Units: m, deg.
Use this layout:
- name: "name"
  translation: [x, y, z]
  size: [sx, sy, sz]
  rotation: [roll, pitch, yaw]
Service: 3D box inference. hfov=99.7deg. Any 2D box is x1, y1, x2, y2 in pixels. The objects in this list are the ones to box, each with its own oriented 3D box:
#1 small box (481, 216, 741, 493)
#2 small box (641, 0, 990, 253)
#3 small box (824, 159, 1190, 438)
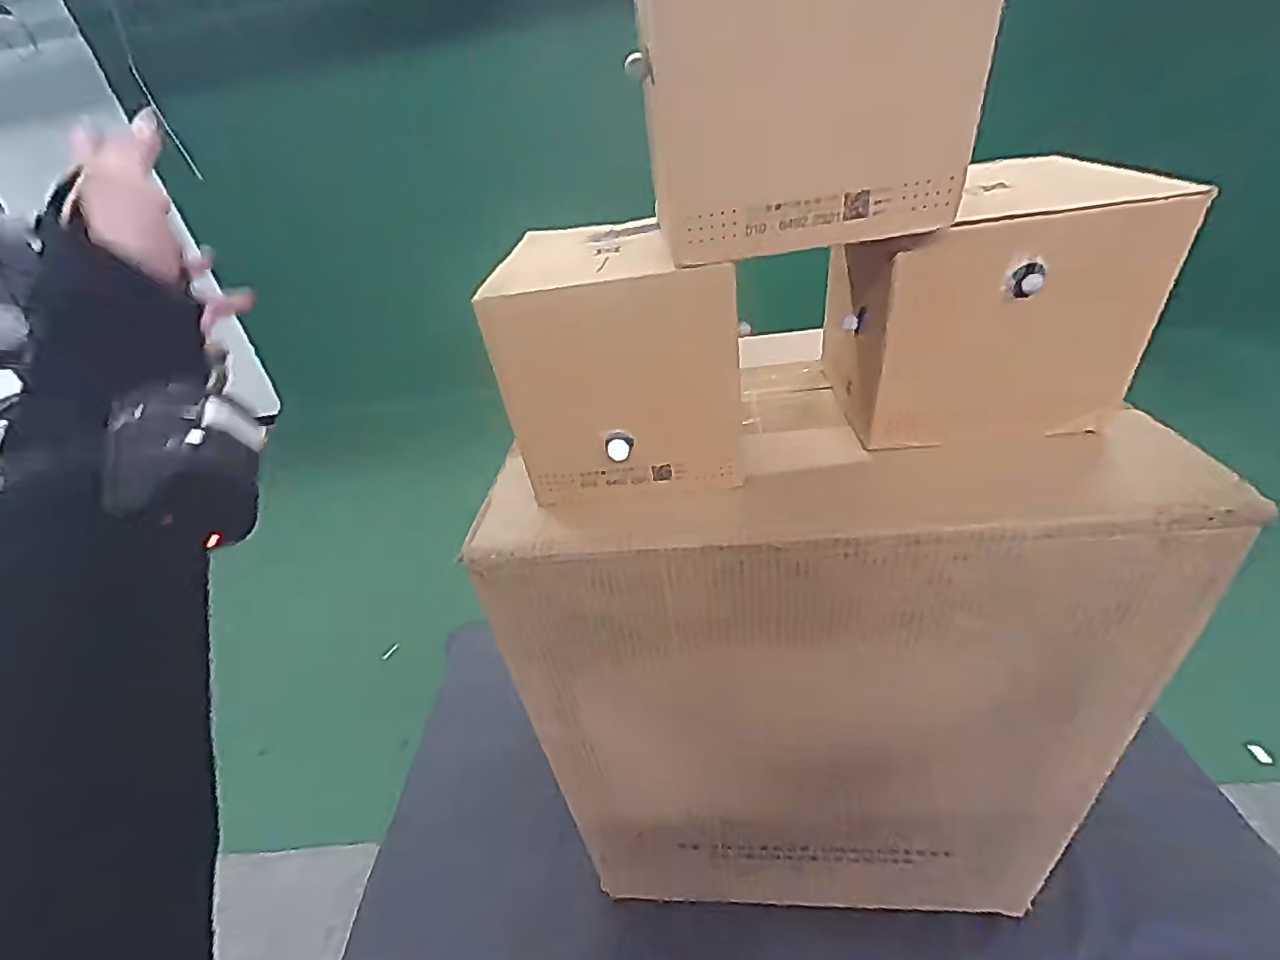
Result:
- name: "small box"
  translation: [-0.007, -0.108, 0.448]
  size: [0.168, 0.176, 0.179]
  rotation: [-5, 36, 8]
- name: "small box"
  translation: [0.088, -0.254, 0.344]
  size: [0.168, 0.176, 0.179]
  rotation: [-7, 35, 2]
- name: "small box"
  translation: [0.254, -0.145, 0.437]
  size: [0.179, 0.176, 0.168]
  rotation: [-3, 37, 6]
